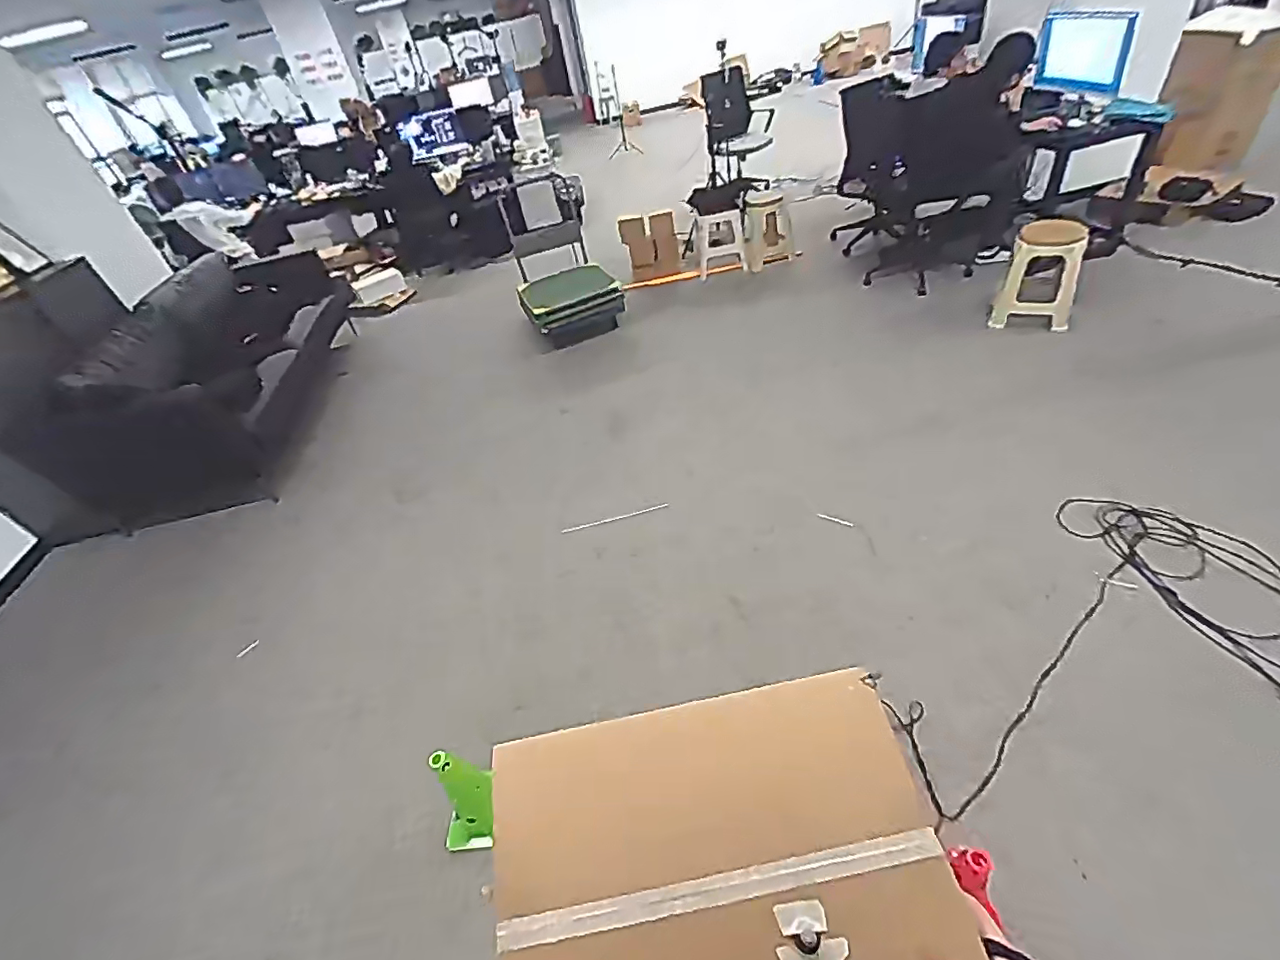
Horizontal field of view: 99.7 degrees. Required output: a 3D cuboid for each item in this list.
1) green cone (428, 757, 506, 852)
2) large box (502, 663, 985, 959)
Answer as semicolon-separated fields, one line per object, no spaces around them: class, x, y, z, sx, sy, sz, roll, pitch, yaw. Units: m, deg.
green cone;-0.474;0.827;1.449;0.200;0.368;0.202;-10;42;4
large box;0.090;0.448;0.619;0.408;0.320;0.320;-13;57;-1
